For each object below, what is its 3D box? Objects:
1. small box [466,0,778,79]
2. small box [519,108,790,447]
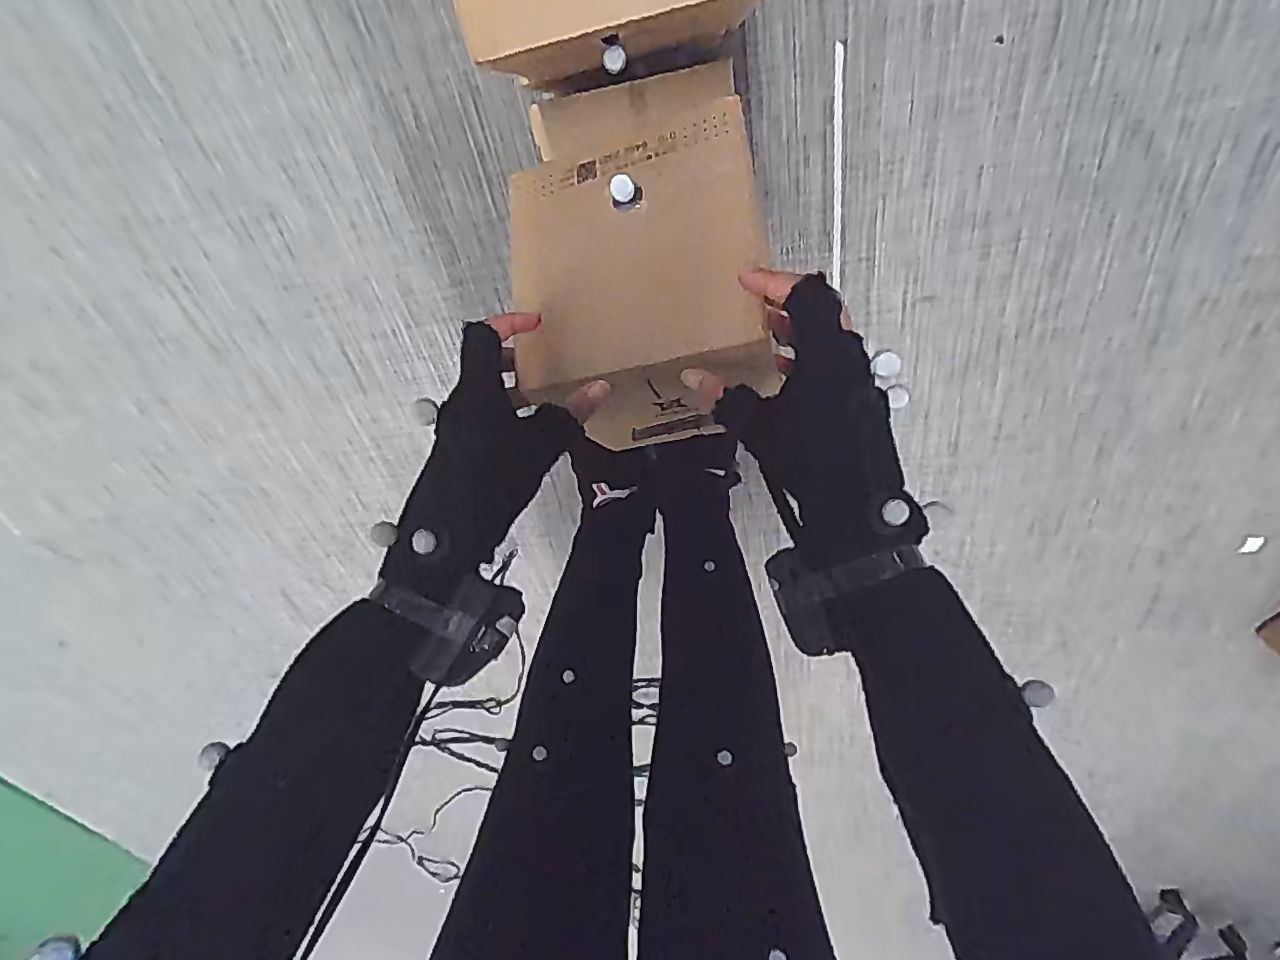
[{"bbox_3d":[-0.018,-0.364,0.328,0.179,0.176,0.168,-8,124,9],"label":"small box"},{"bbox_3d":[0.021,-0.134,0.422,0.168,0.176,0.179,-8,168,18],"label":"small box"}]
